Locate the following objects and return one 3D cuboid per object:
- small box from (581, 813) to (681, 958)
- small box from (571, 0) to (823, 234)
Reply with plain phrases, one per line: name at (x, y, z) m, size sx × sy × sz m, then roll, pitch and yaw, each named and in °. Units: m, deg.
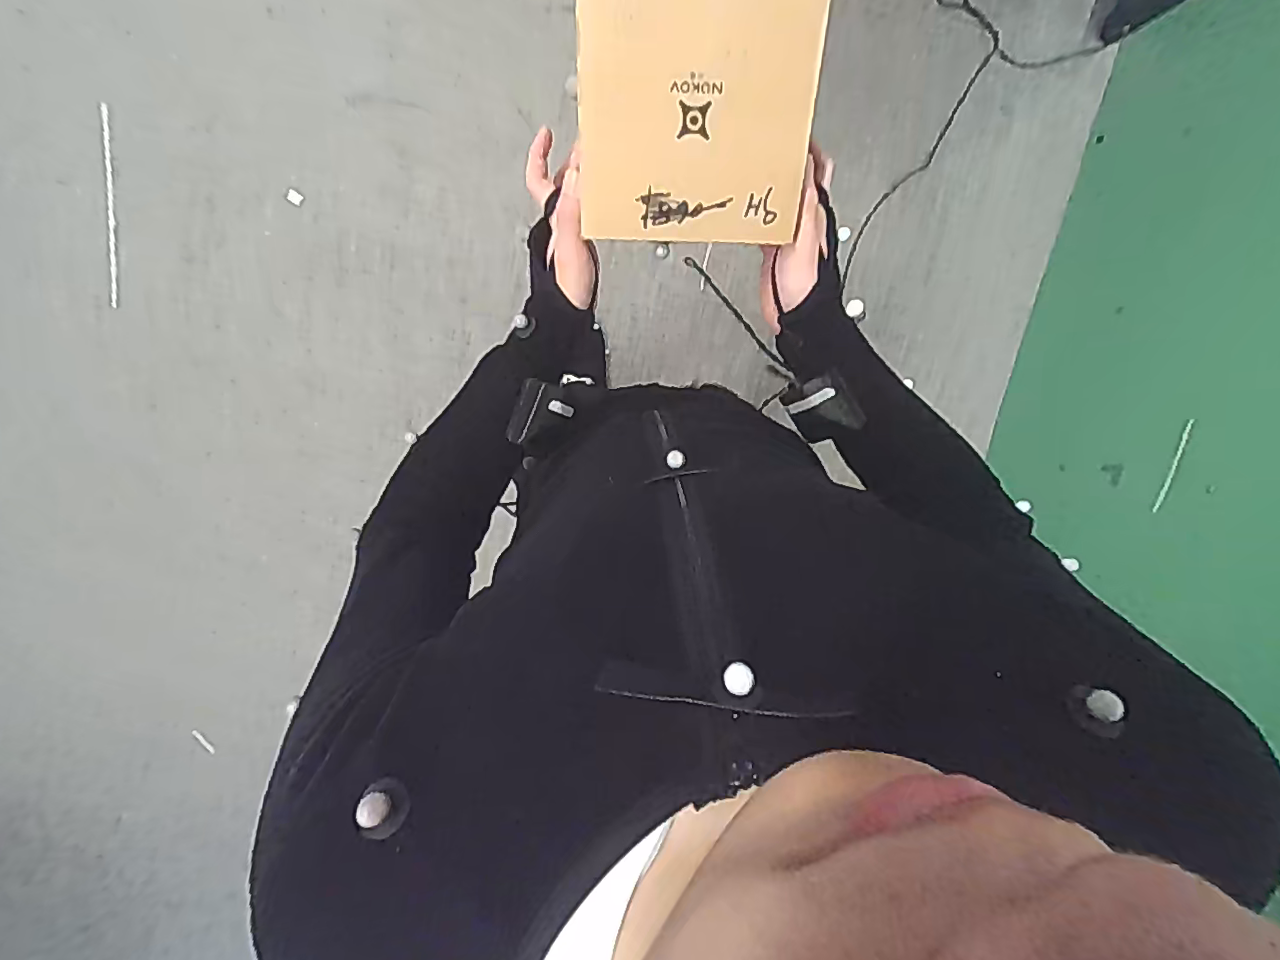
small box at (-0.024, 0.856, 1.156) m, size 0.168 × 0.176 × 0.179 m, roll 15°, pitch 102°, yaw -6°
small box at (0.033, -0.302, 0.438) m, size 0.168 × 0.176 × 0.179 m, roll 1°, pitch 119°, yaw -1°
